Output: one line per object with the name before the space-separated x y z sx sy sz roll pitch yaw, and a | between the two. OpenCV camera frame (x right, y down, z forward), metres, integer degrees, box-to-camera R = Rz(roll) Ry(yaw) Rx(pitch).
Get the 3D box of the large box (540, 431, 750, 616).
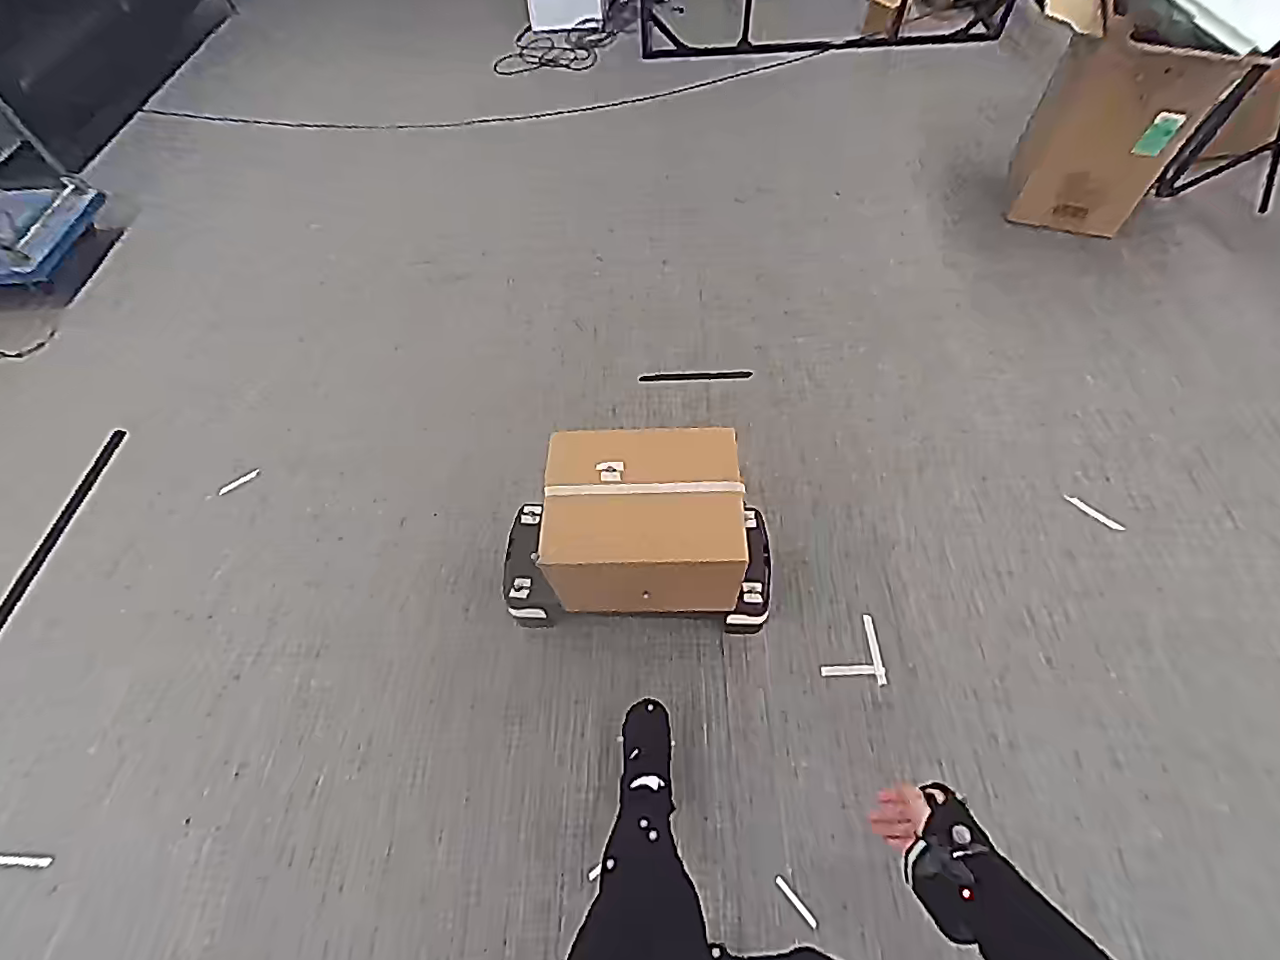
large box | 0.019 0.110 1.217 0.408 0.320 0.320 -2 58 4
